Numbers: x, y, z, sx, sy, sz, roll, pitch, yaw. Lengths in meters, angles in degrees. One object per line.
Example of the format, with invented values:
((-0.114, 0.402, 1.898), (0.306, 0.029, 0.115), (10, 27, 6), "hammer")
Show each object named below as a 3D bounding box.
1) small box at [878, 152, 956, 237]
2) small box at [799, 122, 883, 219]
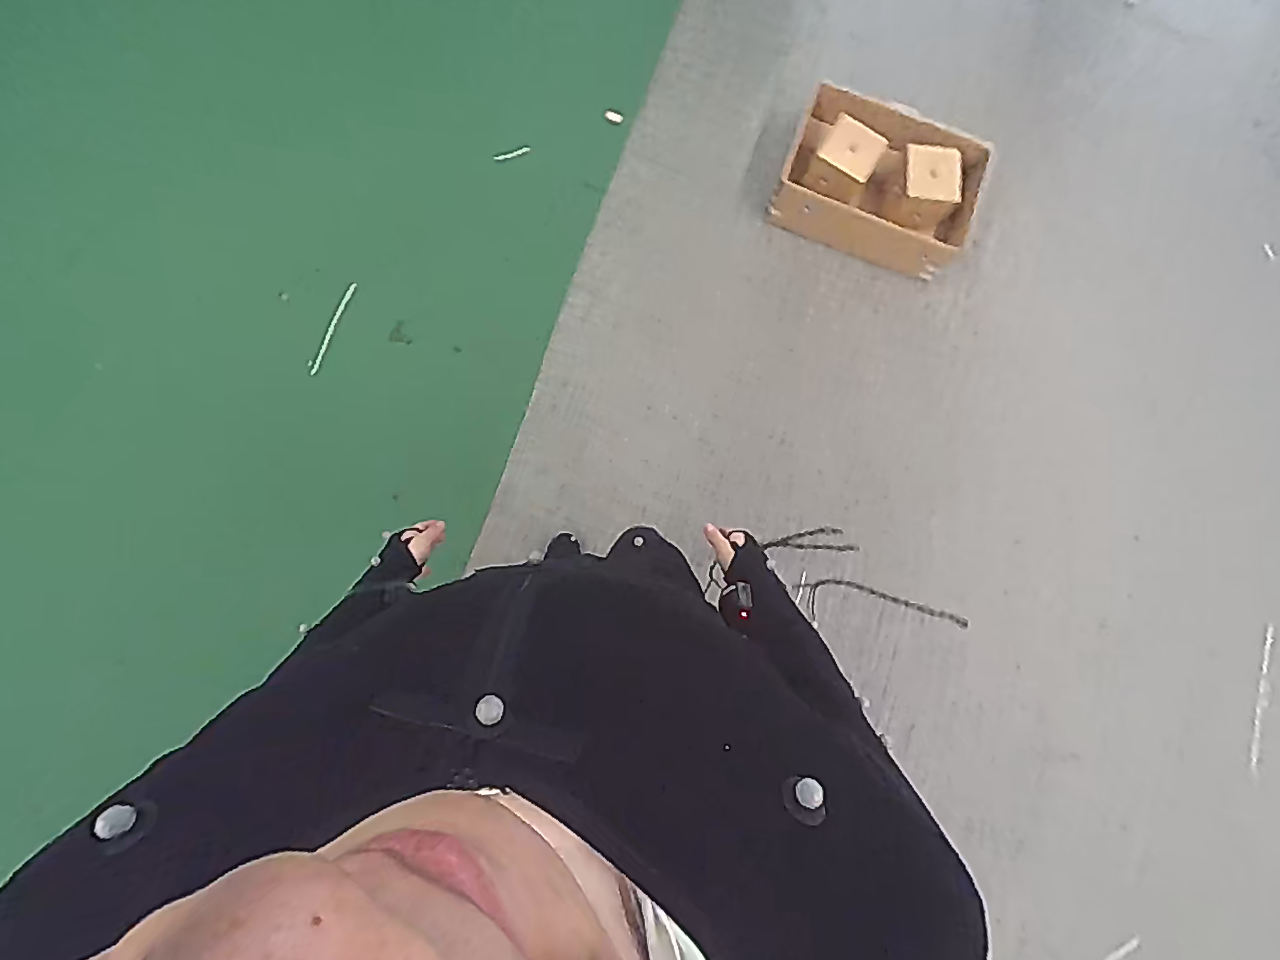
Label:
((0.887, -0.913, 1.743), (0.168, 0.176, 0.179), (5, 82, -3), "small box")
((0.635, -0.986, 1.737), (0.168, 0.176, 0.179), (31, 80, 0), "small box")
